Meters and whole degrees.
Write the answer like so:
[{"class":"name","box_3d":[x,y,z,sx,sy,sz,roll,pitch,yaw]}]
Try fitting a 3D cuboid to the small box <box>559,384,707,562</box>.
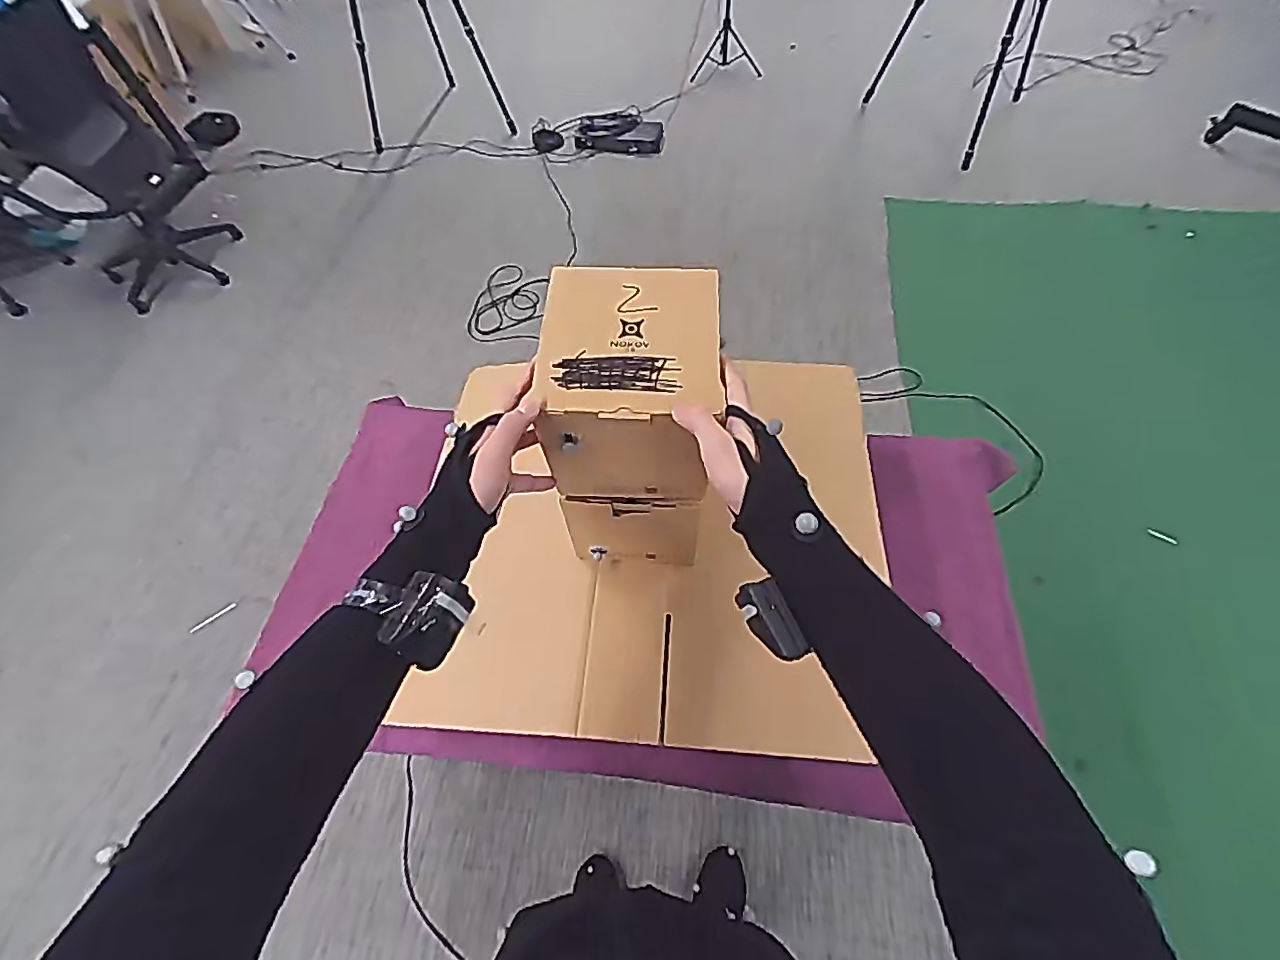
[{"class":"small box","box_3d":[-0.001,-0.004,0.712,0.168,0.176,0.179,3,58,3]}]
